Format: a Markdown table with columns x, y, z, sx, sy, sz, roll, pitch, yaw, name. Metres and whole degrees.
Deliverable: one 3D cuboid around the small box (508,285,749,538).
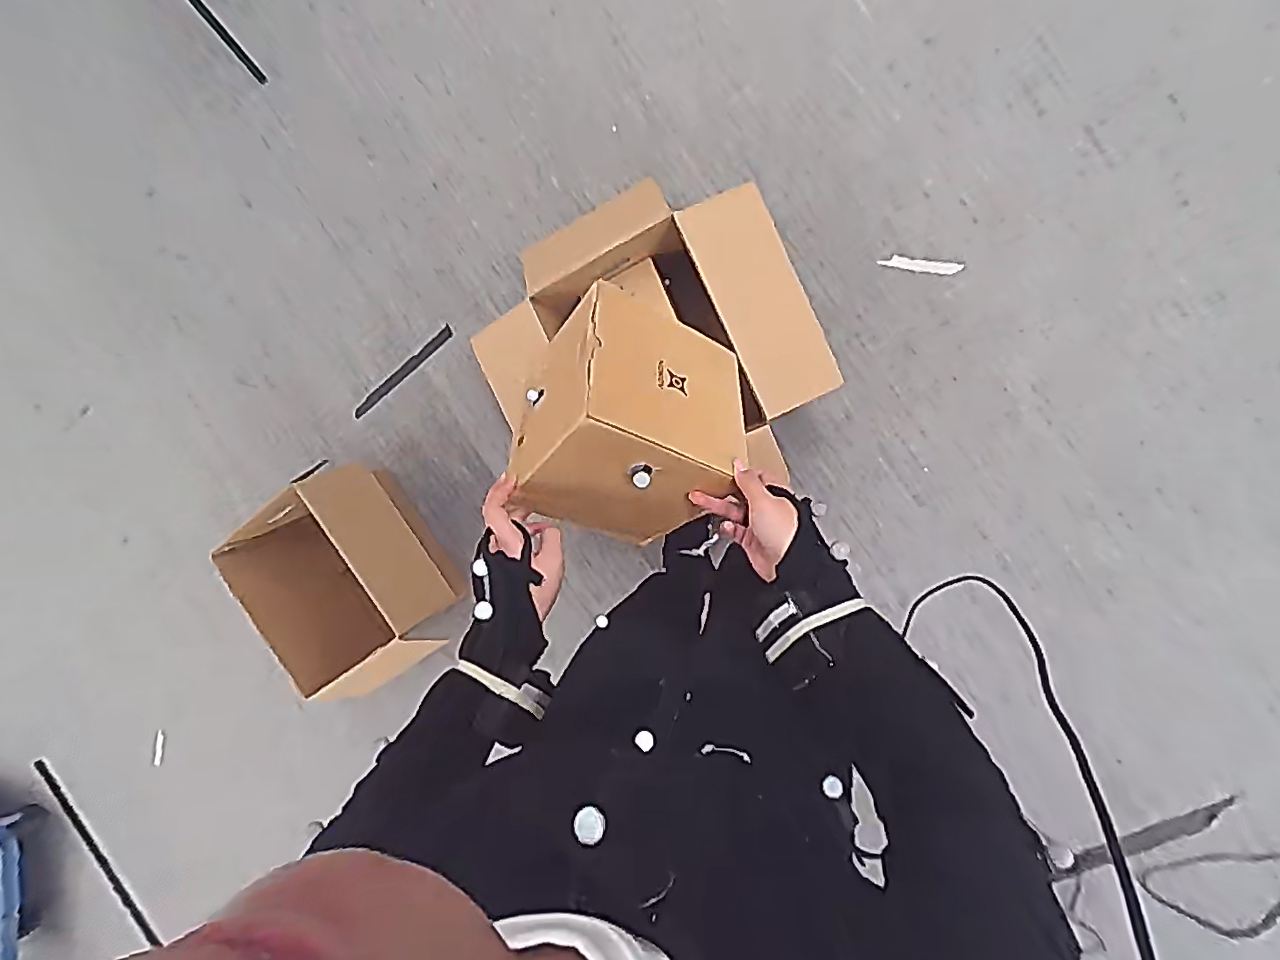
| x | y | z | sx | sy | sz | roll | pitch | yaw | name |
| --- | --- | --- | --- | --- | --- | --- | --- | --- | --- |
| -0.014 | -0.054 | 0.556 | 0.179 | 0.168 | 0.176 | 20 | 143 | -28 | small box |
